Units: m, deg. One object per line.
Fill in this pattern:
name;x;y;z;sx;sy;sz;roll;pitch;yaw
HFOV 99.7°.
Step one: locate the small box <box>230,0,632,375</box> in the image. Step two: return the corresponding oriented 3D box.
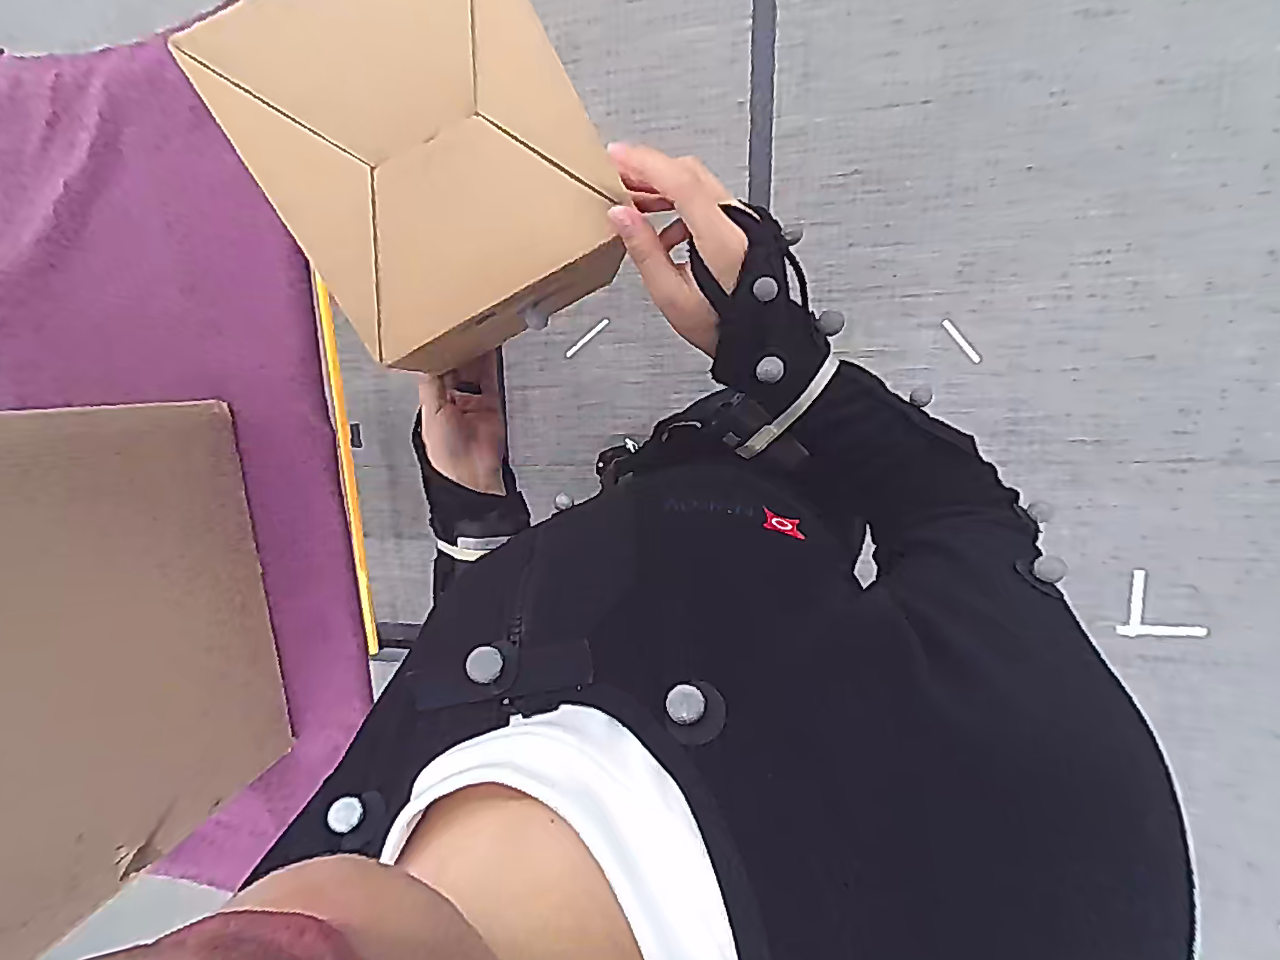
small box;-0.117;-0.188;0.359;0.168;0.176;0.179;-30;102;-3
